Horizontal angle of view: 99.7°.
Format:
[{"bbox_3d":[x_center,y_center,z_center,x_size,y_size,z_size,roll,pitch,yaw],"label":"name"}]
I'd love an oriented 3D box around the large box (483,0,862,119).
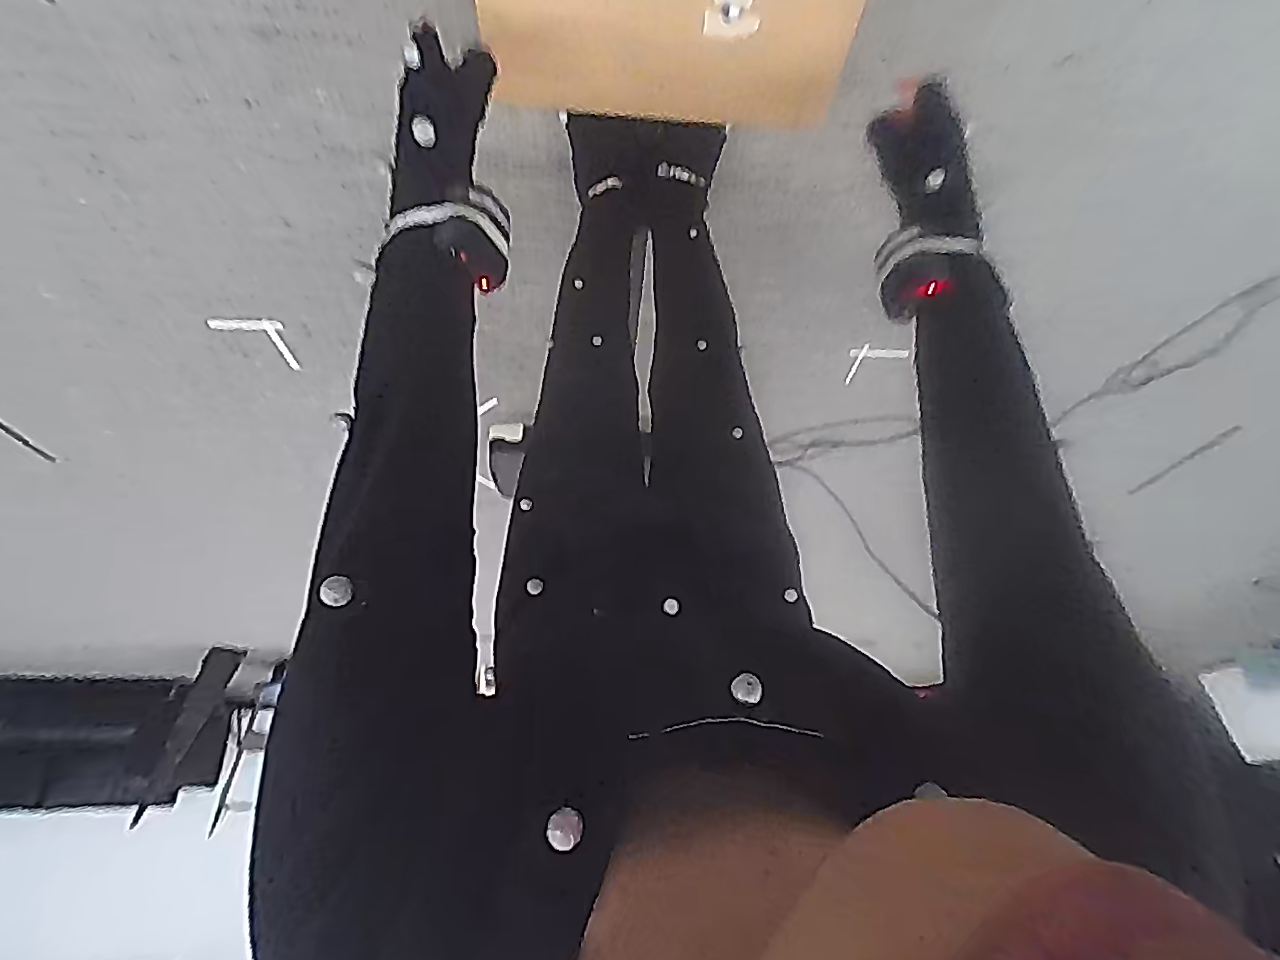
[{"bbox_3d":[0.033,-0.651,0.605,0.408,0.320,0.320,1,147,-4],"label":"large box"}]
